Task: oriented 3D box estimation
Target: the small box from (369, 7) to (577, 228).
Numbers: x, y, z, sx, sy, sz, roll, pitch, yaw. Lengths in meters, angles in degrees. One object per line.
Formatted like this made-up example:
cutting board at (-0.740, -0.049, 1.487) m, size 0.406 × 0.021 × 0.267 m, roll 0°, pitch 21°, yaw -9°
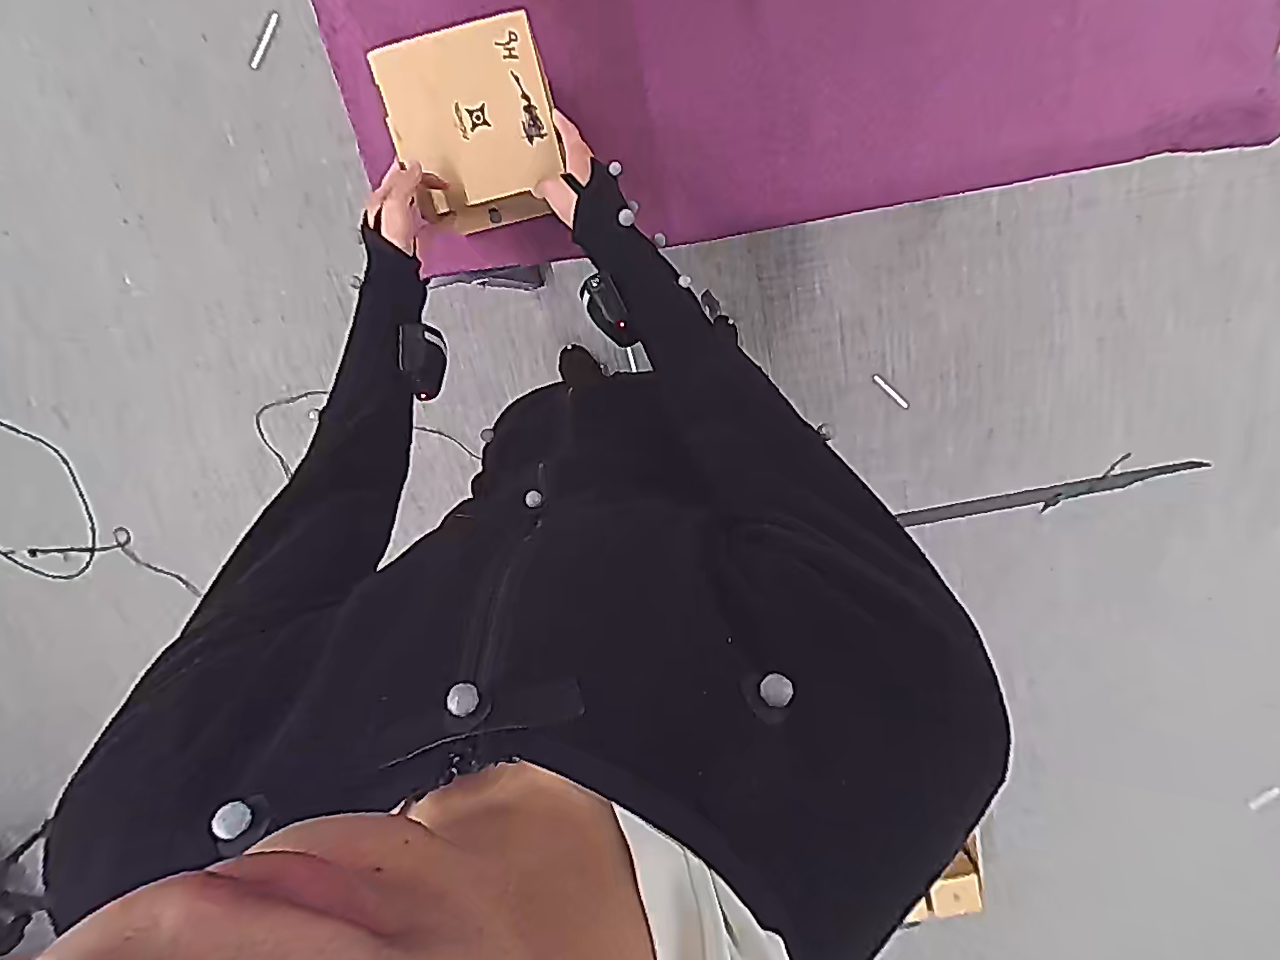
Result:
small box at (-0.187, -0.423, 0.665) m, size 0.179 × 0.176 × 0.168 m, roll -13°, pitch 109°, yaw 3°
